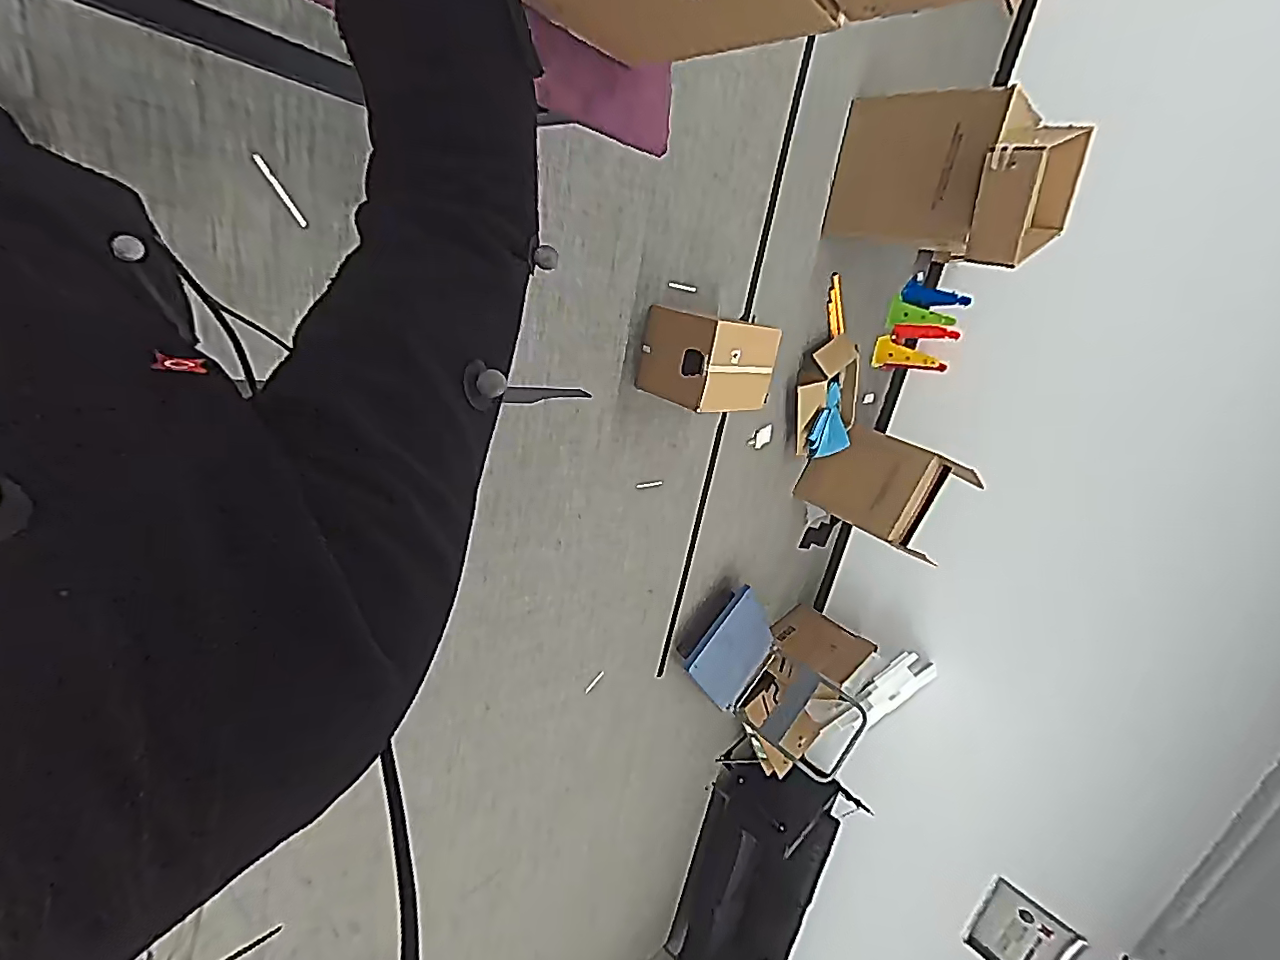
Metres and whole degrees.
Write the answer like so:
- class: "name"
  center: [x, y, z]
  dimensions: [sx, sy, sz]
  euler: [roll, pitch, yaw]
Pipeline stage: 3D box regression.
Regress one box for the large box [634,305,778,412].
- class: "large box"
  center: [0.244, -0.454, 2.008]
  dimensions: [0.408, 0.320, 0.320]
  euler: [-10, 118, -44]
